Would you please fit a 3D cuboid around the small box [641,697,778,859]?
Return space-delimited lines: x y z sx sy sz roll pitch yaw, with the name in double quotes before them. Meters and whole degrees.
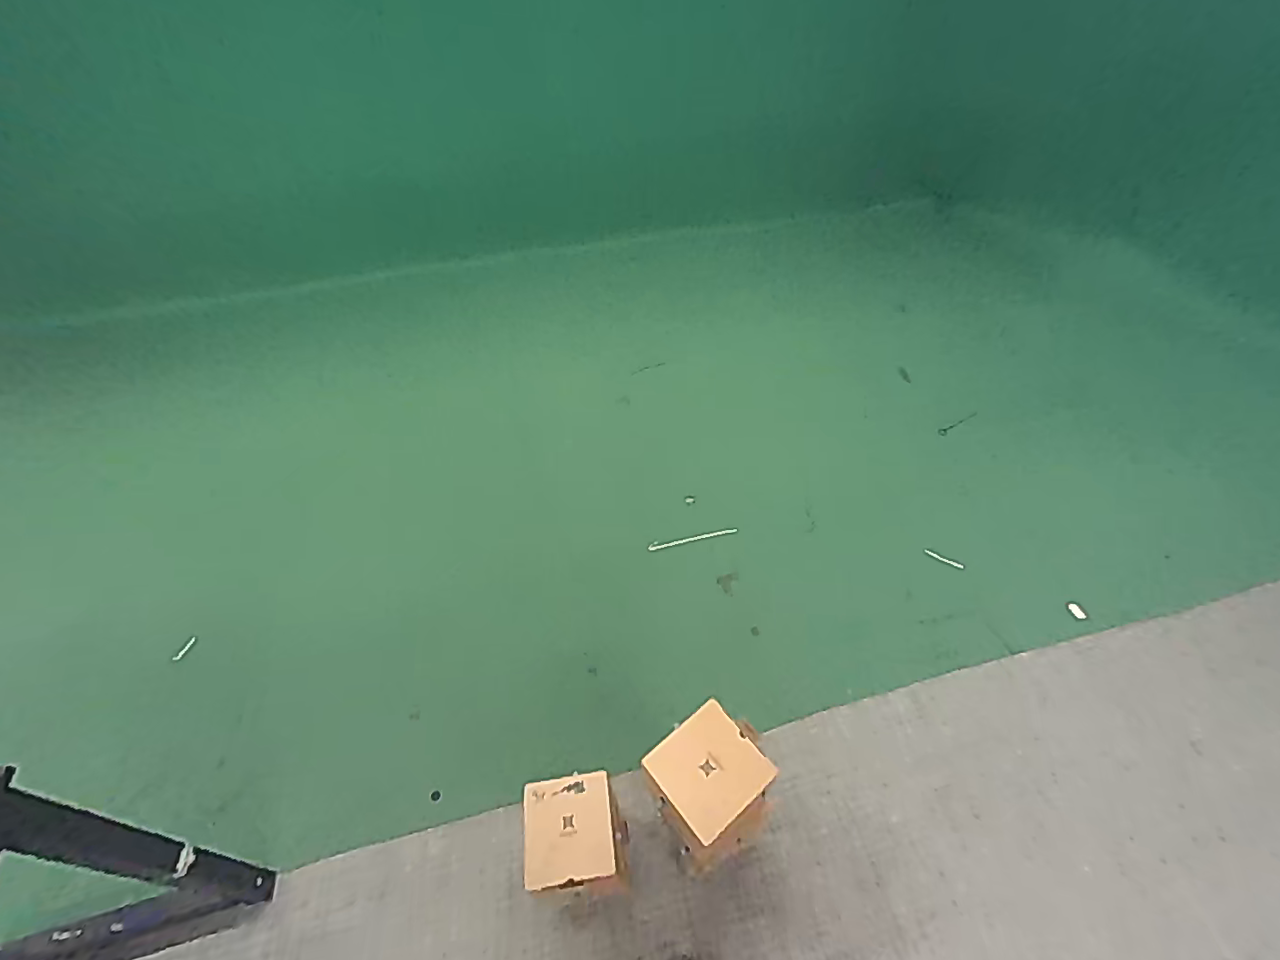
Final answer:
"small box" 0.121 0.538 0.971 0.179 0.176 0.168 -31 54 -25

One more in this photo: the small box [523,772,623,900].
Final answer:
"small box" -0.128 0.698 1.056 0.168 0.176 0.179 -8 47 -3

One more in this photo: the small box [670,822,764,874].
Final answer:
"small box" 0.155 0.751 1.215 0.179 0.176 0.168 -17 48 -14

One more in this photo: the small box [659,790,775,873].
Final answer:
"small box" 0.144 0.649 1.089 0.179 0.176 0.168 -27 53 -22
